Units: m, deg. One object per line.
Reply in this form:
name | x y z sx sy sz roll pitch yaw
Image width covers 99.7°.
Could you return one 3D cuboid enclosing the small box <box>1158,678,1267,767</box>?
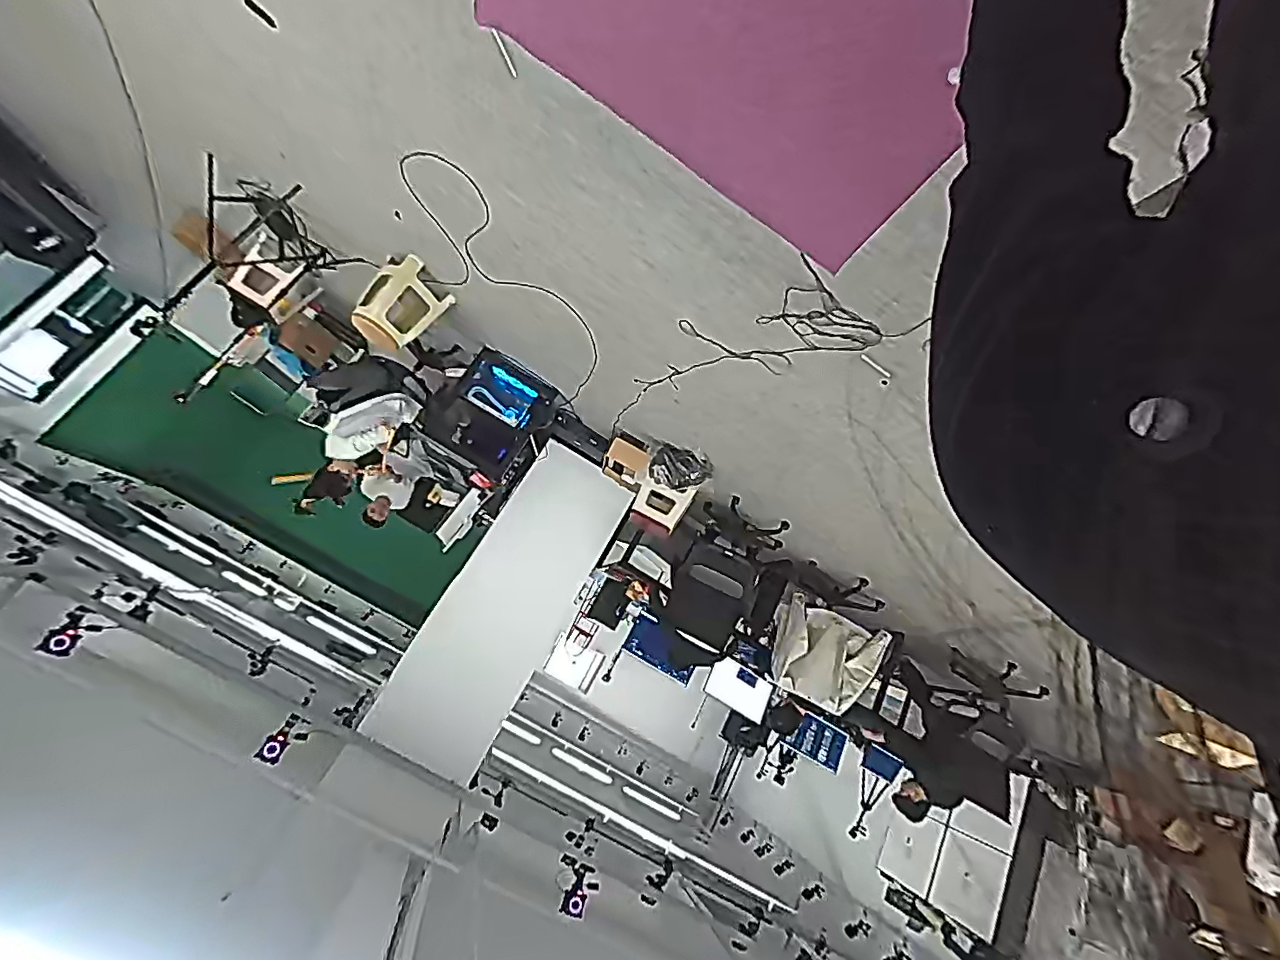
small box | 1.629 0.686 1.540 0.168 0.176 0.179 18 158 32
